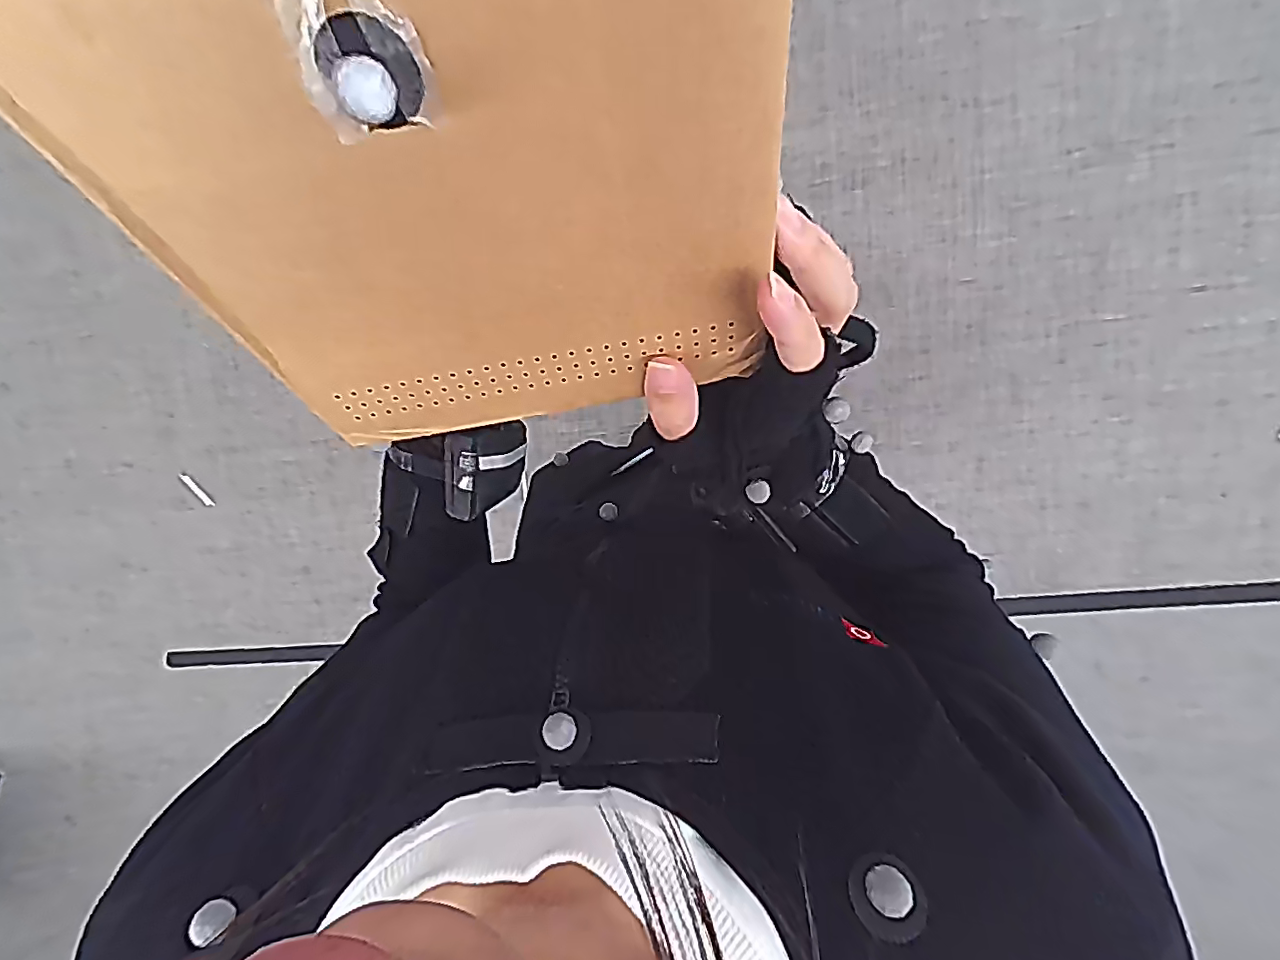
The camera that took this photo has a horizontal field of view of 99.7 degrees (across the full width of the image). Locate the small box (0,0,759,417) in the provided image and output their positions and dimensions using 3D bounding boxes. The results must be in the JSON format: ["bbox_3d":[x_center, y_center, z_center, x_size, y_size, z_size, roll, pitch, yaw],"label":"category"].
[{"bbox_3d":[-0.052,-0.143,0.214,0.179,0.176,0.168,-9,59,5],"label":"small box"}]
